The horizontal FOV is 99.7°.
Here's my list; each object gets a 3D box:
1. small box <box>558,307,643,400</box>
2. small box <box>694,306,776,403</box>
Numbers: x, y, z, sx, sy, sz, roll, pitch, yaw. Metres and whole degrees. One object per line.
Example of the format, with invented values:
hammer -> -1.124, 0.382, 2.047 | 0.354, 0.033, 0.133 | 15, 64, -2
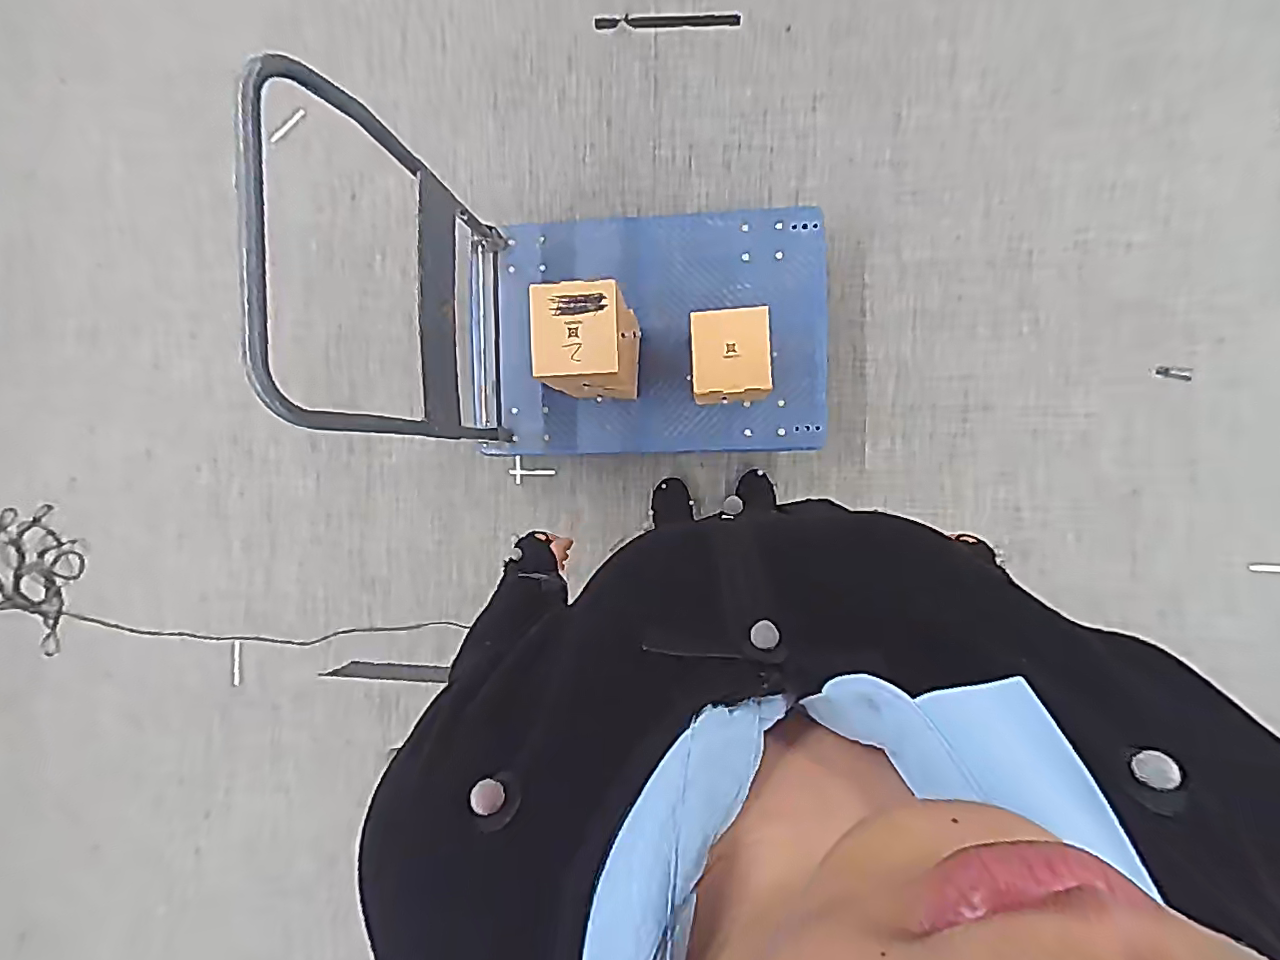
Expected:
small box -> -0.085, -0.286, 1.246 | 0.168, 0.176, 0.179 | 3, 92, 6
small box -> 0.209, -0.275, 1.220 | 0.168, 0.176, 0.179 | -3, 91, 6
